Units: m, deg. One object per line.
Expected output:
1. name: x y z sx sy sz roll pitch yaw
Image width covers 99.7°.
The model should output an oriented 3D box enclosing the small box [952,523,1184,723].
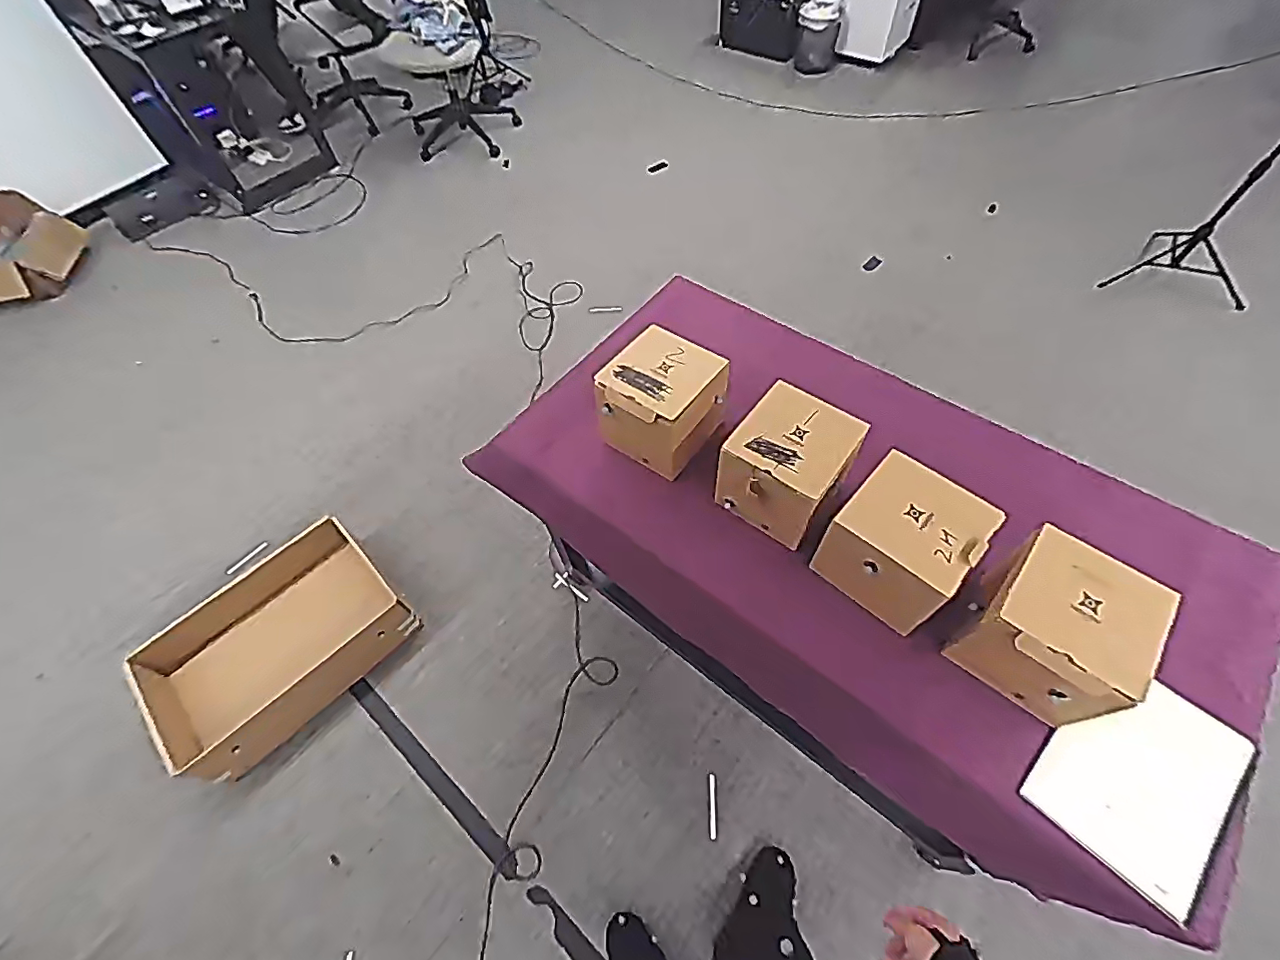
1. small box: 0.560 0.199 0.735 0.168 0.176 0.179 36 65 22
